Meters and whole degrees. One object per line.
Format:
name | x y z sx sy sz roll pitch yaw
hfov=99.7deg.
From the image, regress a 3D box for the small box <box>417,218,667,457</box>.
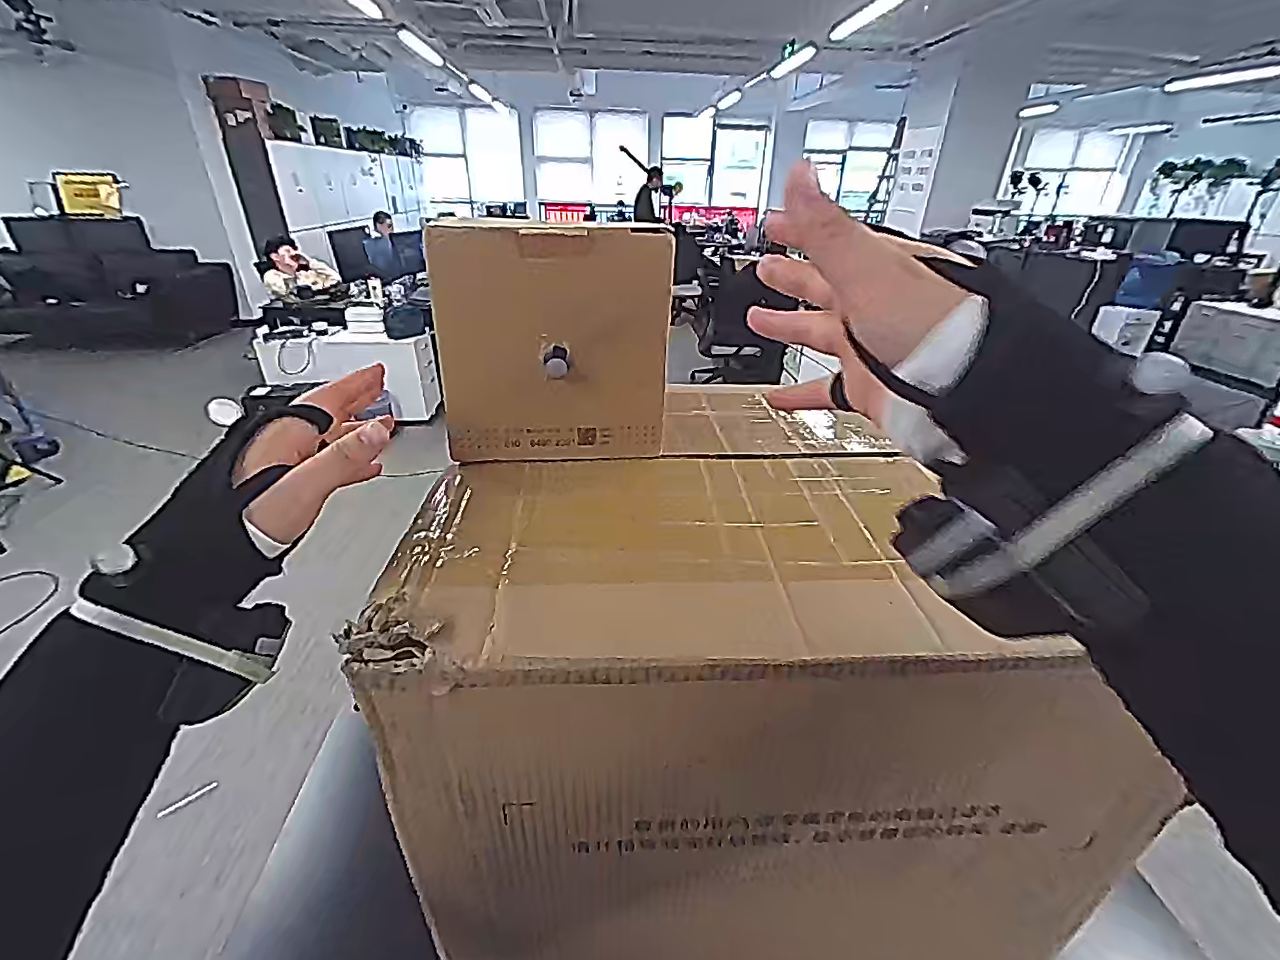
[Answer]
small box | -0.072 -0.125 0.458 0.168 0.176 0.179 -2 27 -8
